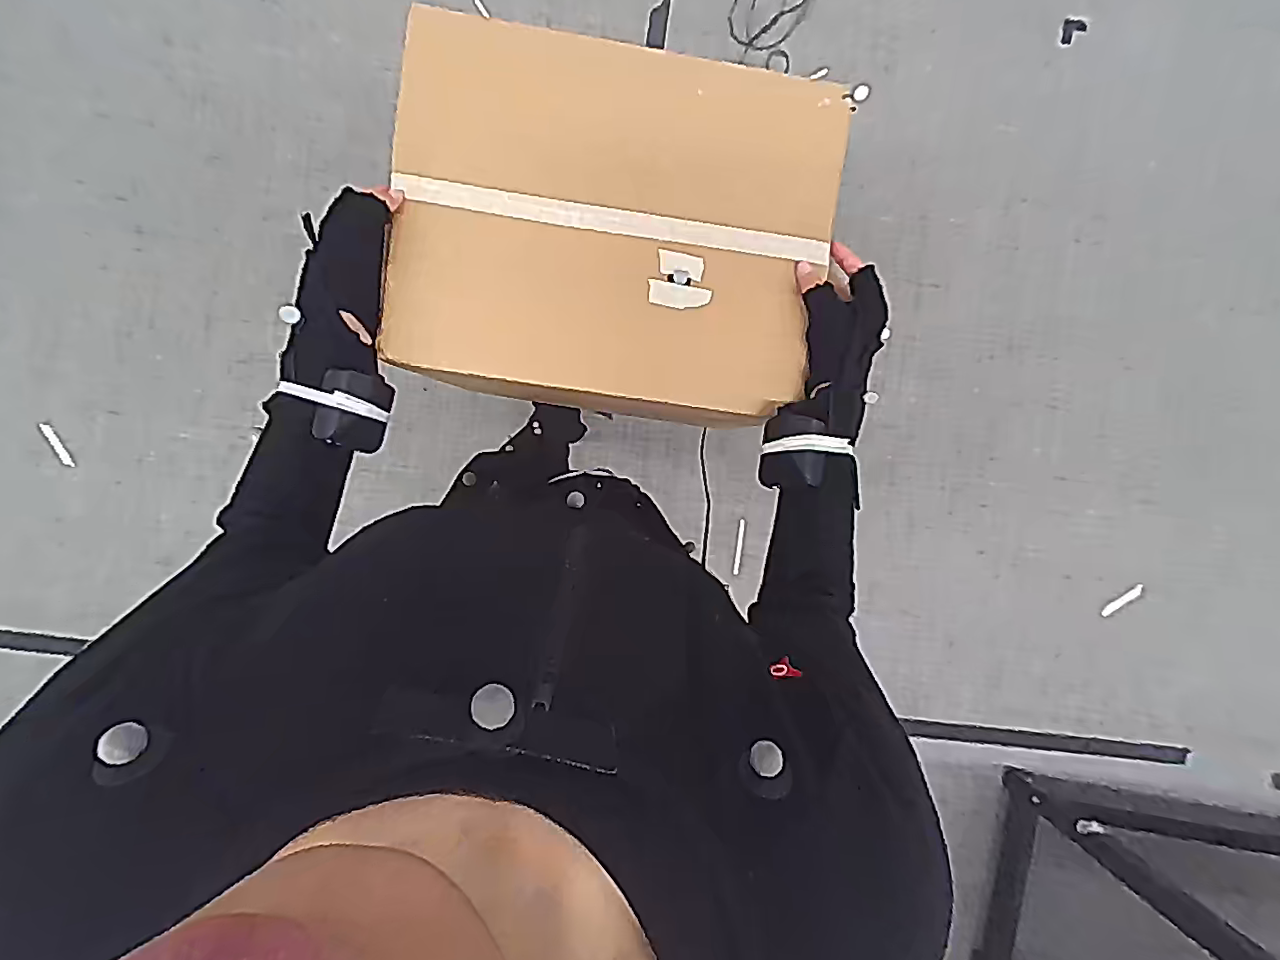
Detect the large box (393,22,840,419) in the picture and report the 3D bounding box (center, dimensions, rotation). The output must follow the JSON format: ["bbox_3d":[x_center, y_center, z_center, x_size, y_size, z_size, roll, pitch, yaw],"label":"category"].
[{"bbox_3d":[-0.031,-0.258,0.664,0.408,0.320,0.320,8,95,-4],"label":"large box"}]
